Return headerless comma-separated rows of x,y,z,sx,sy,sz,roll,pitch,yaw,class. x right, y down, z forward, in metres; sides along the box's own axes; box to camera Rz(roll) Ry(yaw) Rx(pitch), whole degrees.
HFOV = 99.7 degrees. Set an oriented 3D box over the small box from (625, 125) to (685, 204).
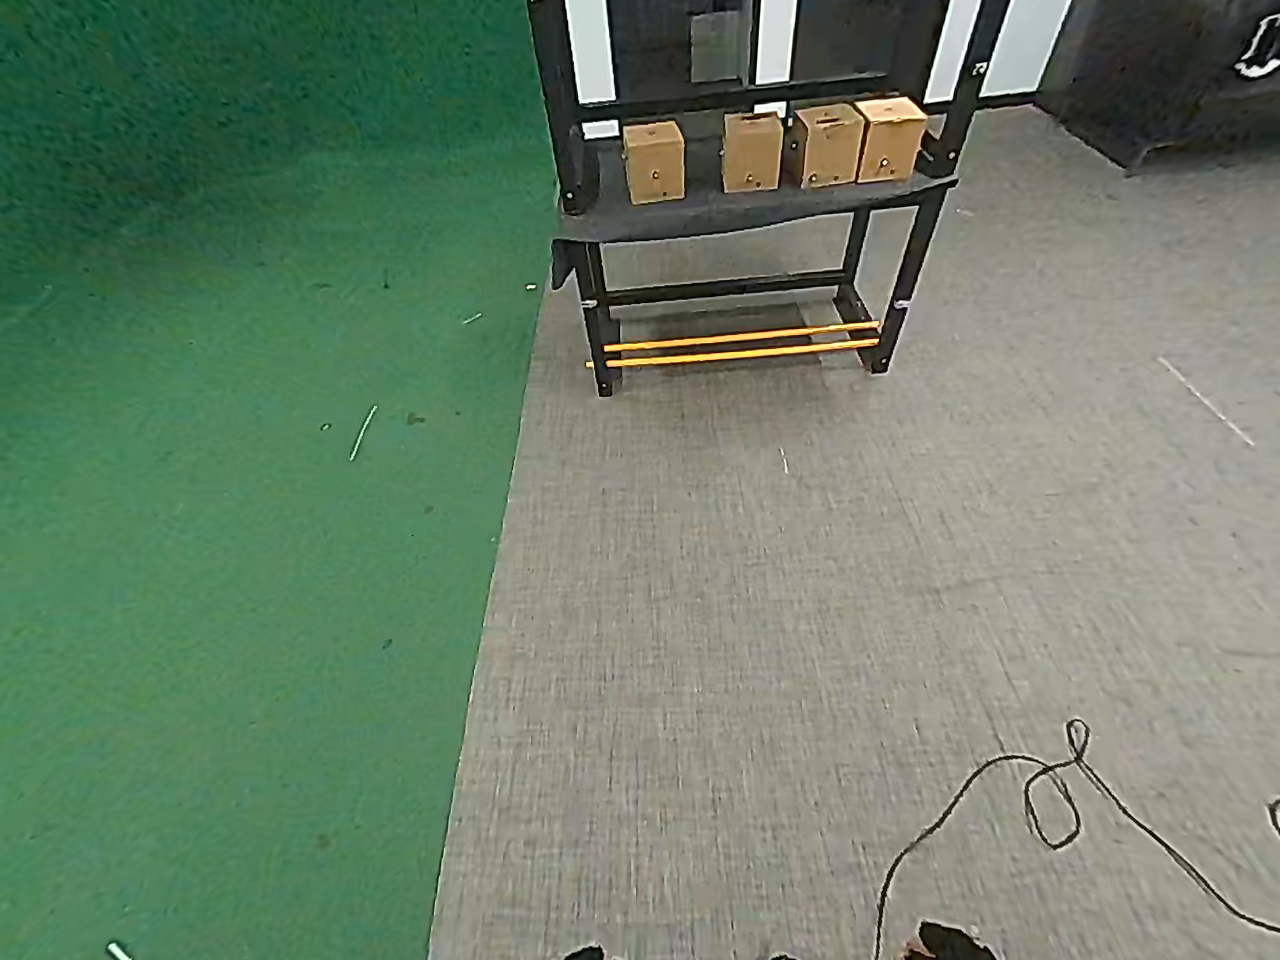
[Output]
0.049,-0.985,1.699,0.168,0.176,0.179,-8,48,-1,small box
